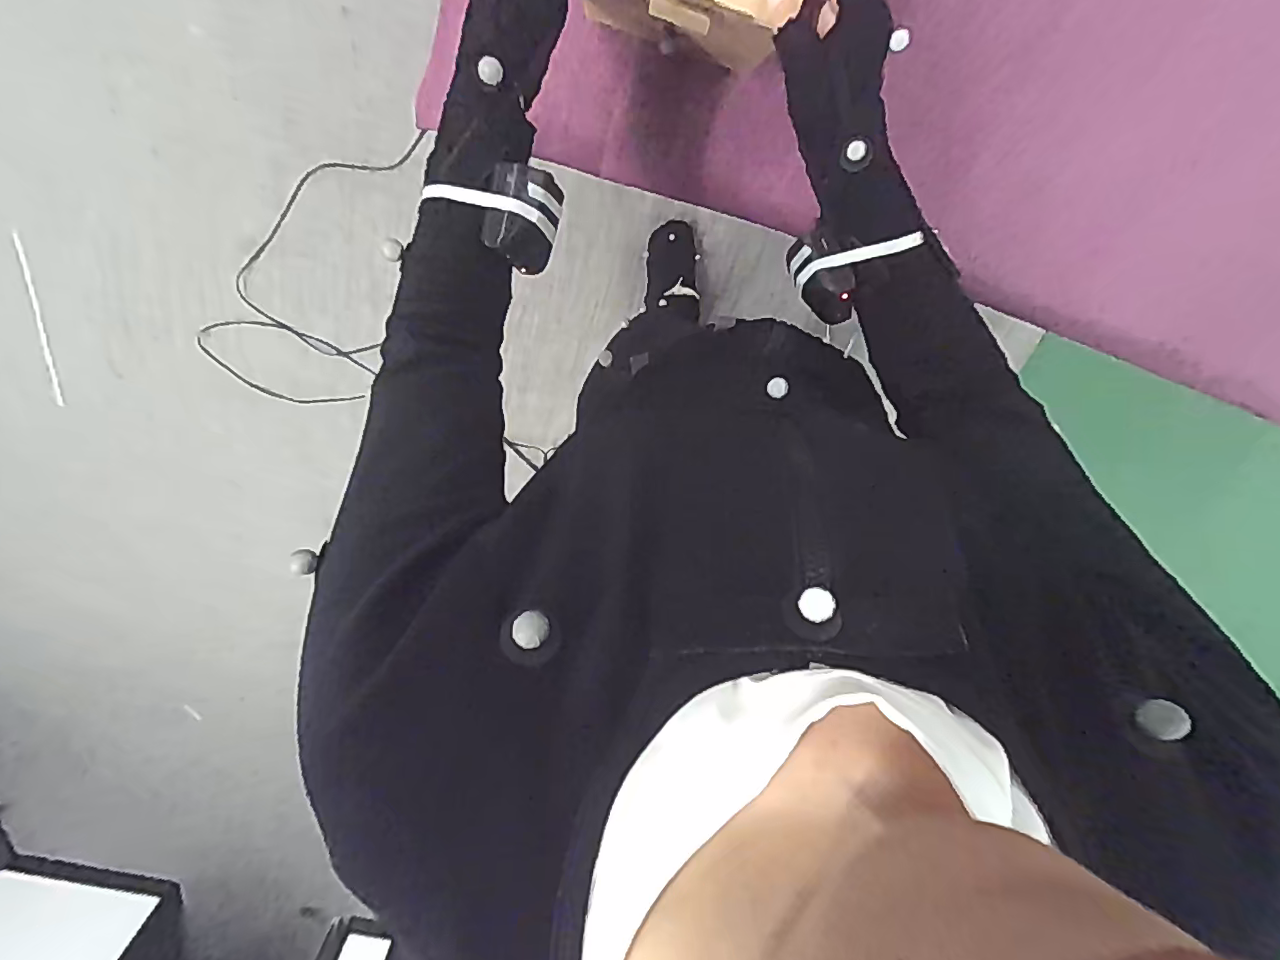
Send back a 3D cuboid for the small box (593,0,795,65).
[{"bbox_3d":[0.050,-0.459,0.413,0.168,0.176,0.179,14,118,-8],"label":"small box"}]
